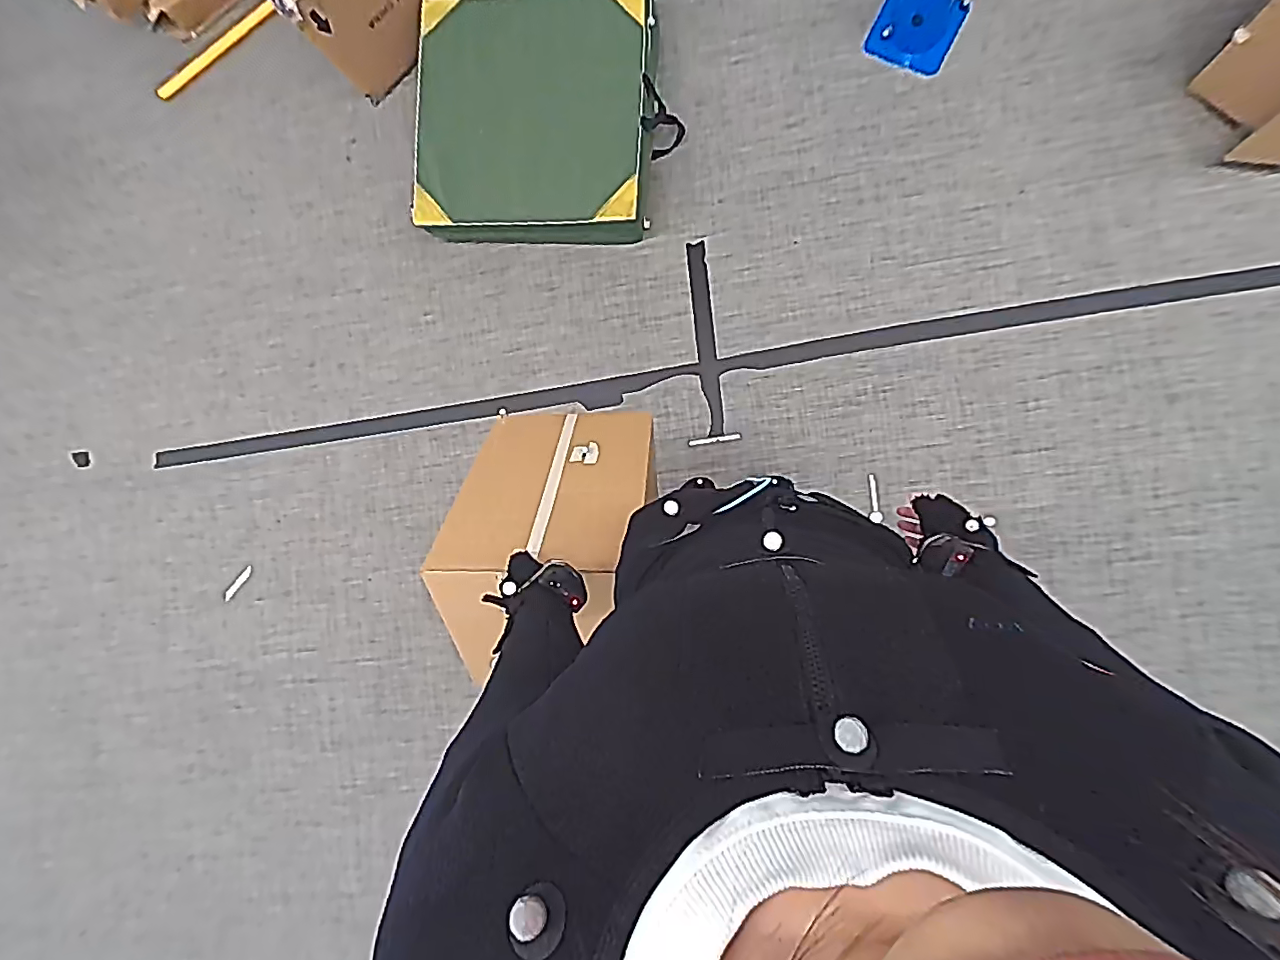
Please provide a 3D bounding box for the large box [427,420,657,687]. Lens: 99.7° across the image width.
[{"bbox_3d":[-0.138,0.127,1.016,0.320,0.408,0.320,0,129,6],"label":"large box"}]
